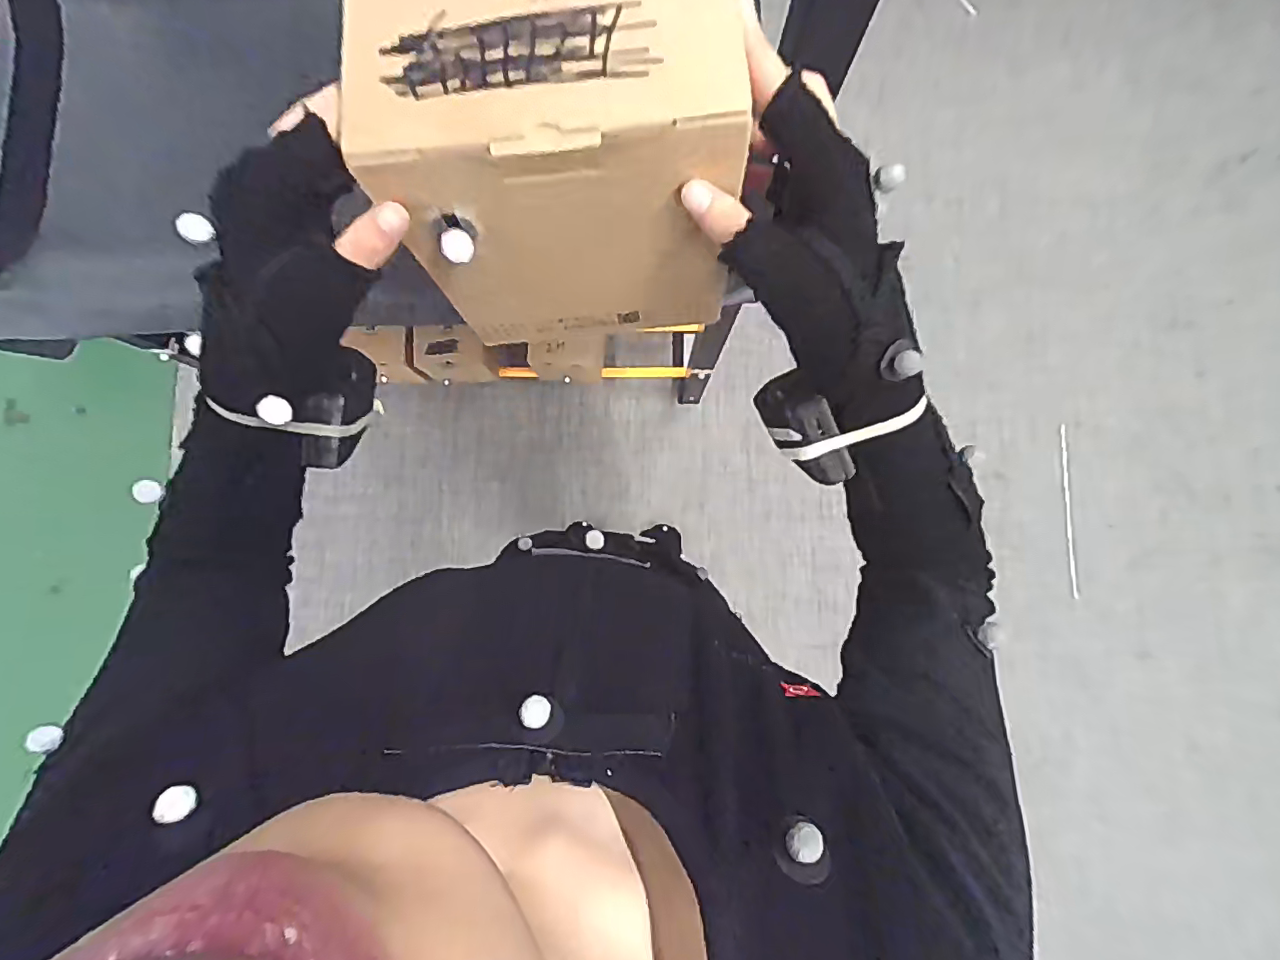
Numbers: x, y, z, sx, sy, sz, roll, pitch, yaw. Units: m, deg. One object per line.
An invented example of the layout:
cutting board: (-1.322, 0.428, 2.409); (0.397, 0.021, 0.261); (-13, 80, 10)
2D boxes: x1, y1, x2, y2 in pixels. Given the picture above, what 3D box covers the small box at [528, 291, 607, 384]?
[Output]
small box: (-0.177, -0.355, 1.372); (0.168, 0.176, 0.179); (5, 86, 1)
